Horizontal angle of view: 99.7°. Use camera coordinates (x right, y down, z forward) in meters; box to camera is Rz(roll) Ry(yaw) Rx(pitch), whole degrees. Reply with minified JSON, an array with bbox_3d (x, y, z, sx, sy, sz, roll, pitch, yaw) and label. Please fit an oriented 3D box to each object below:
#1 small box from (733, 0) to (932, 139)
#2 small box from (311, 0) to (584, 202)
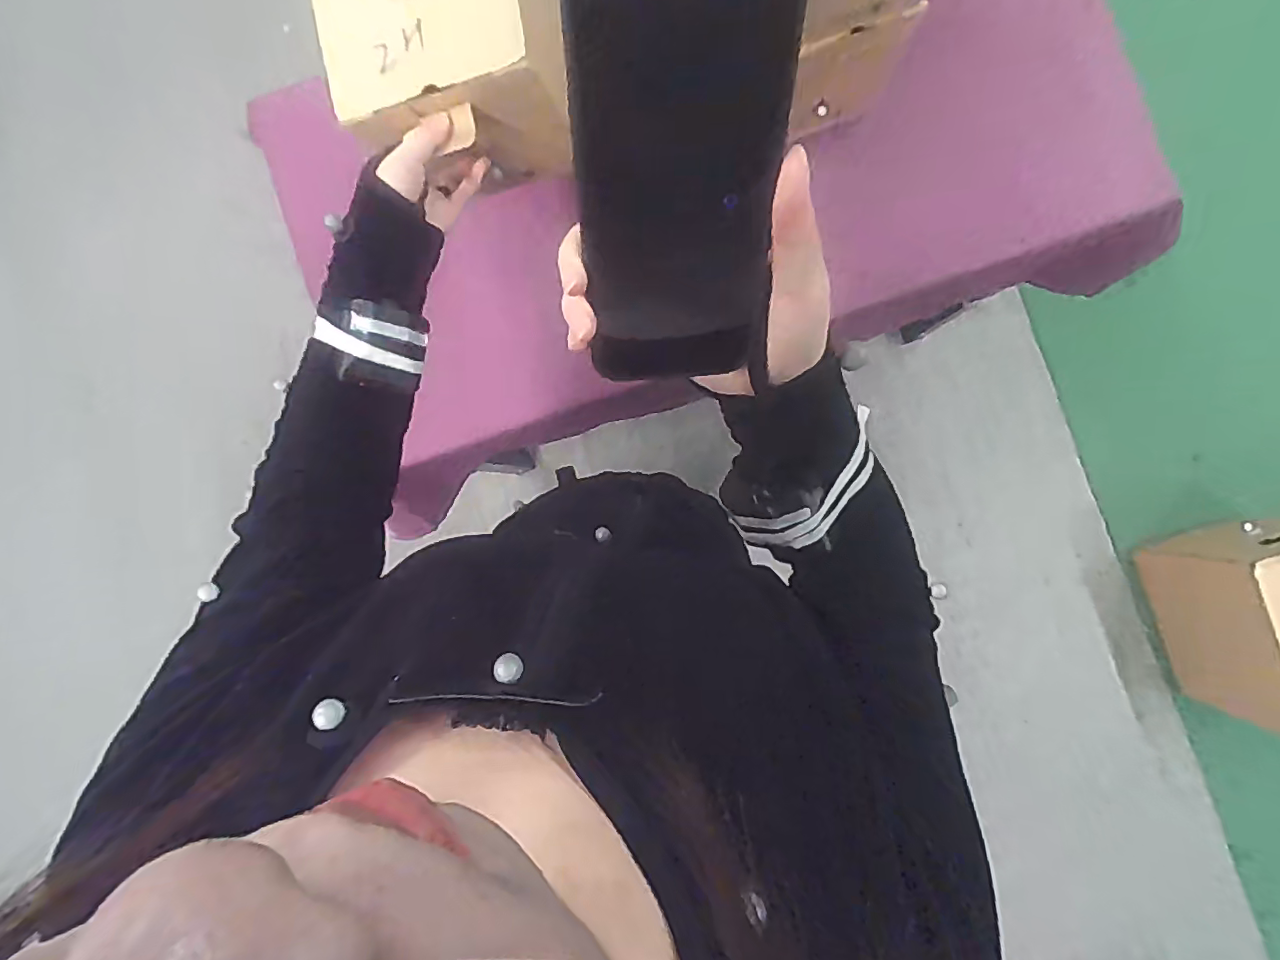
[{"bbox_3d":[0.227,-0.586,0.686,0.168,0.176,0.179,-19,89,3],"label":"small box"},{"bbox_3d":[-0.160,-0.385,0.485,0.168,0.176,0.179,-9,95,12],"label":"small box"}]
